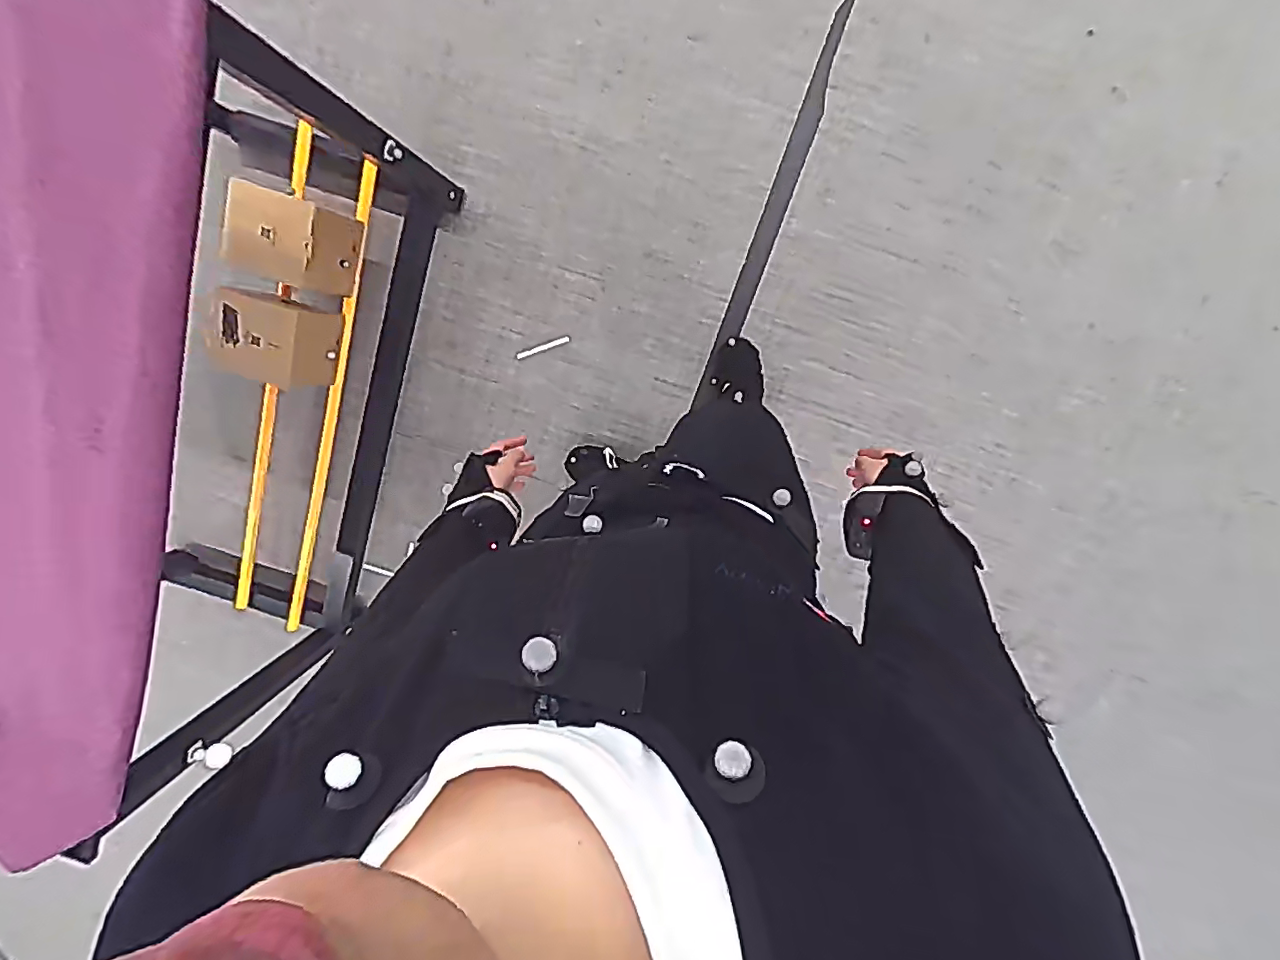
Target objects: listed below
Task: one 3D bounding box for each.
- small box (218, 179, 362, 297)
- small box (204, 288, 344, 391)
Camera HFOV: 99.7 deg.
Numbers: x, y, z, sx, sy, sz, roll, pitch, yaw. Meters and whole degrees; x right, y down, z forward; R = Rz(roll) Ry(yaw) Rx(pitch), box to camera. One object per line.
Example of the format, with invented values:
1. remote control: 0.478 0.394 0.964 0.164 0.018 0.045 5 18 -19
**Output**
1. small box: -0.718 -0.488 1.121 0.179 0.176 0.168 17 103 -1
2. small box: -0.783 -0.299 1.169 0.179 0.176 0.168 17 104 -1
